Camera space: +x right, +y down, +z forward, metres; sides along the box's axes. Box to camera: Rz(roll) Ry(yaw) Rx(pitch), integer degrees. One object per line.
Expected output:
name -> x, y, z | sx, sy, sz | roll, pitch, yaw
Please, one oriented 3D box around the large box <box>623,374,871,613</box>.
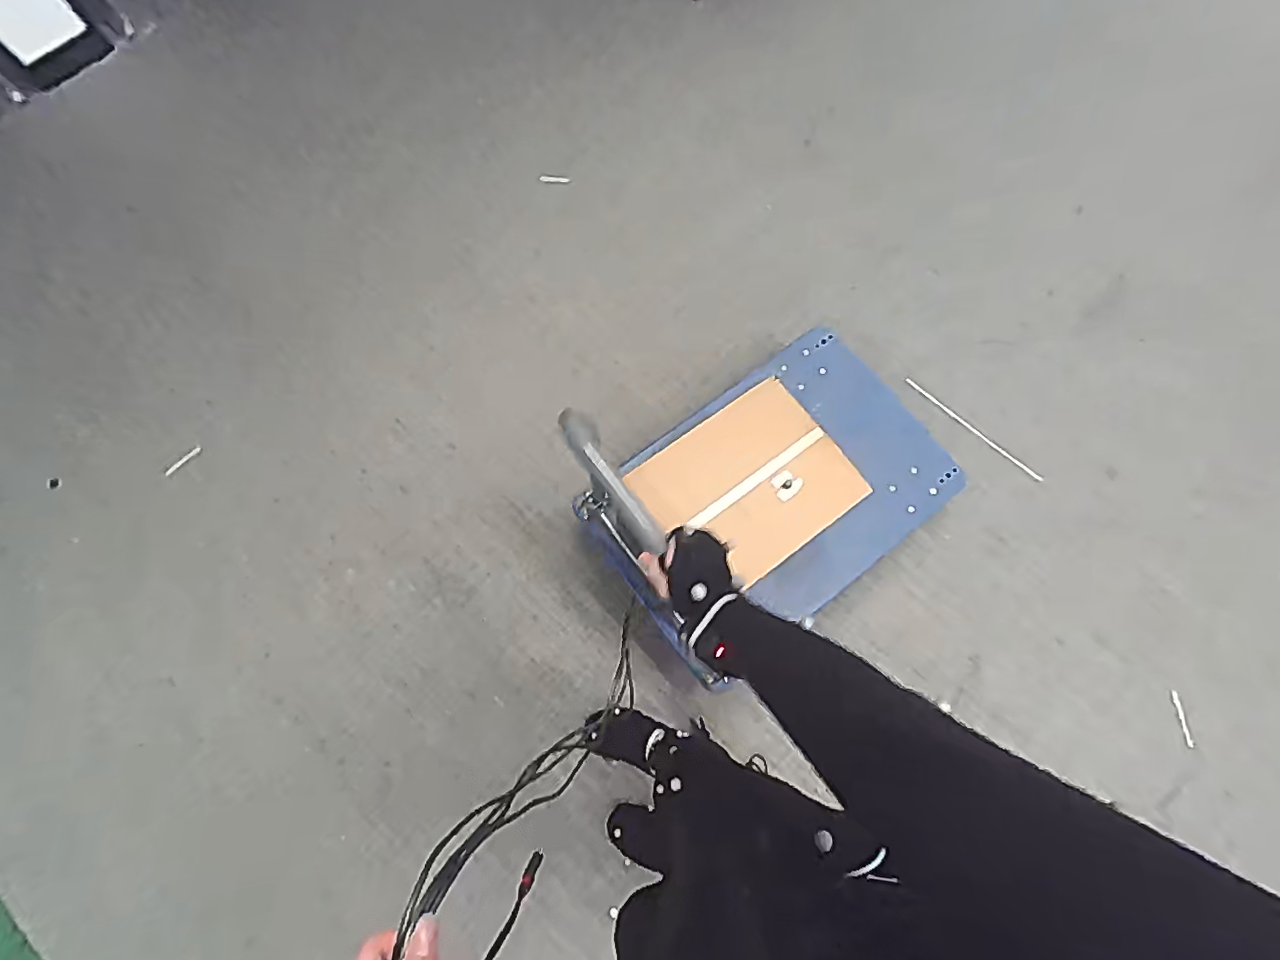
large box -> 0.208, 0.048, 1.206 | 0.408, 0.320, 0.320 | -34, 79, -11
